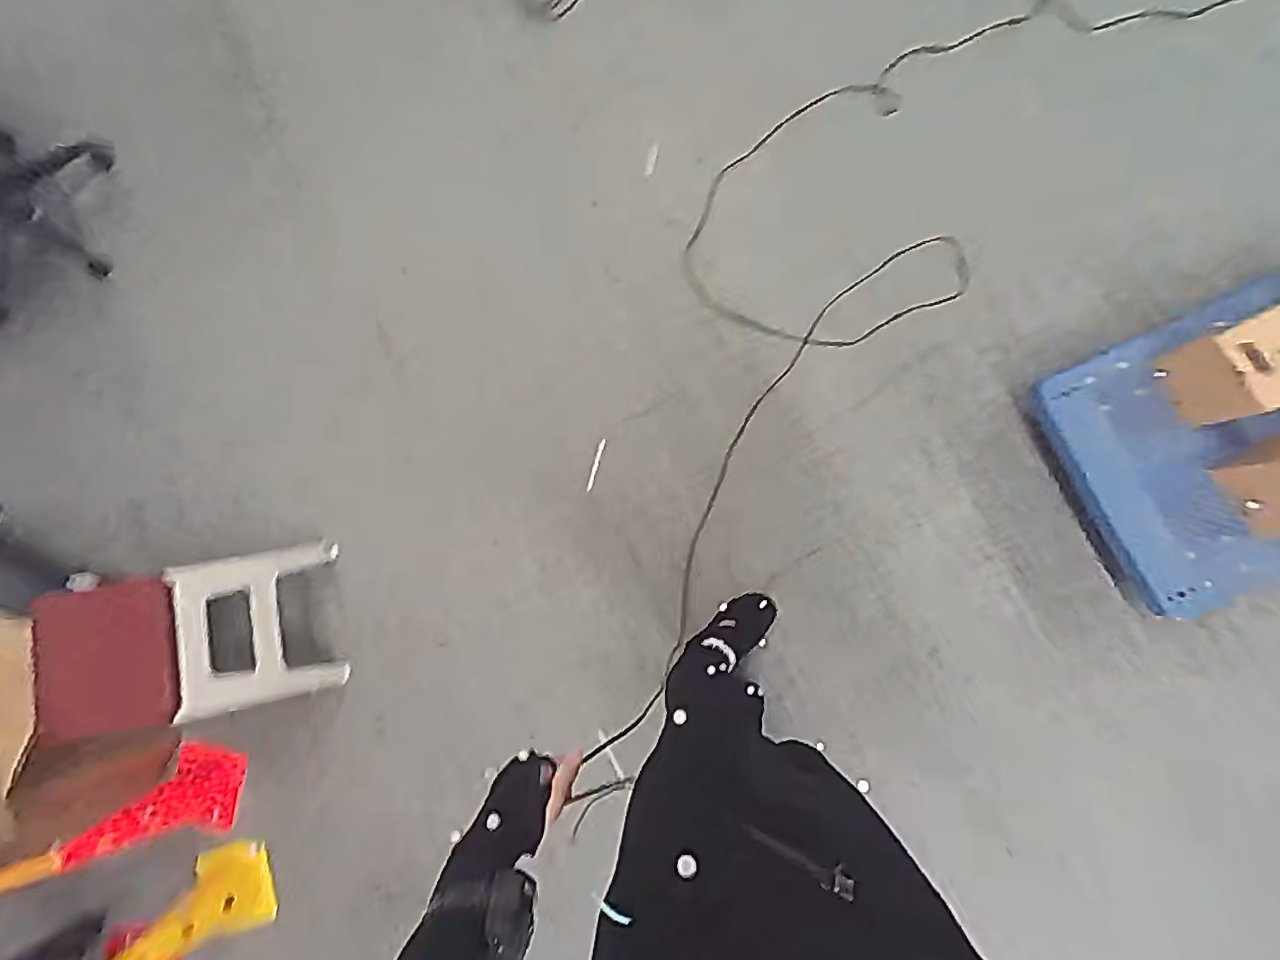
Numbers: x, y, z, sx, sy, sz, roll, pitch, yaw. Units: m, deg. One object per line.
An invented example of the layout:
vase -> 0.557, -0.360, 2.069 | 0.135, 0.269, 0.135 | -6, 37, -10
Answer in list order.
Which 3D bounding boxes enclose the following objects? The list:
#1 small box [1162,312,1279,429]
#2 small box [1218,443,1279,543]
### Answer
small box -> 1.217, -0.218, 1.083 | 0.179, 0.176, 0.168 | -25, 83, 2
small box -> 1.319, 0.013, 1.051 | 0.179, 0.176, 0.168 | -28, 82, 2
